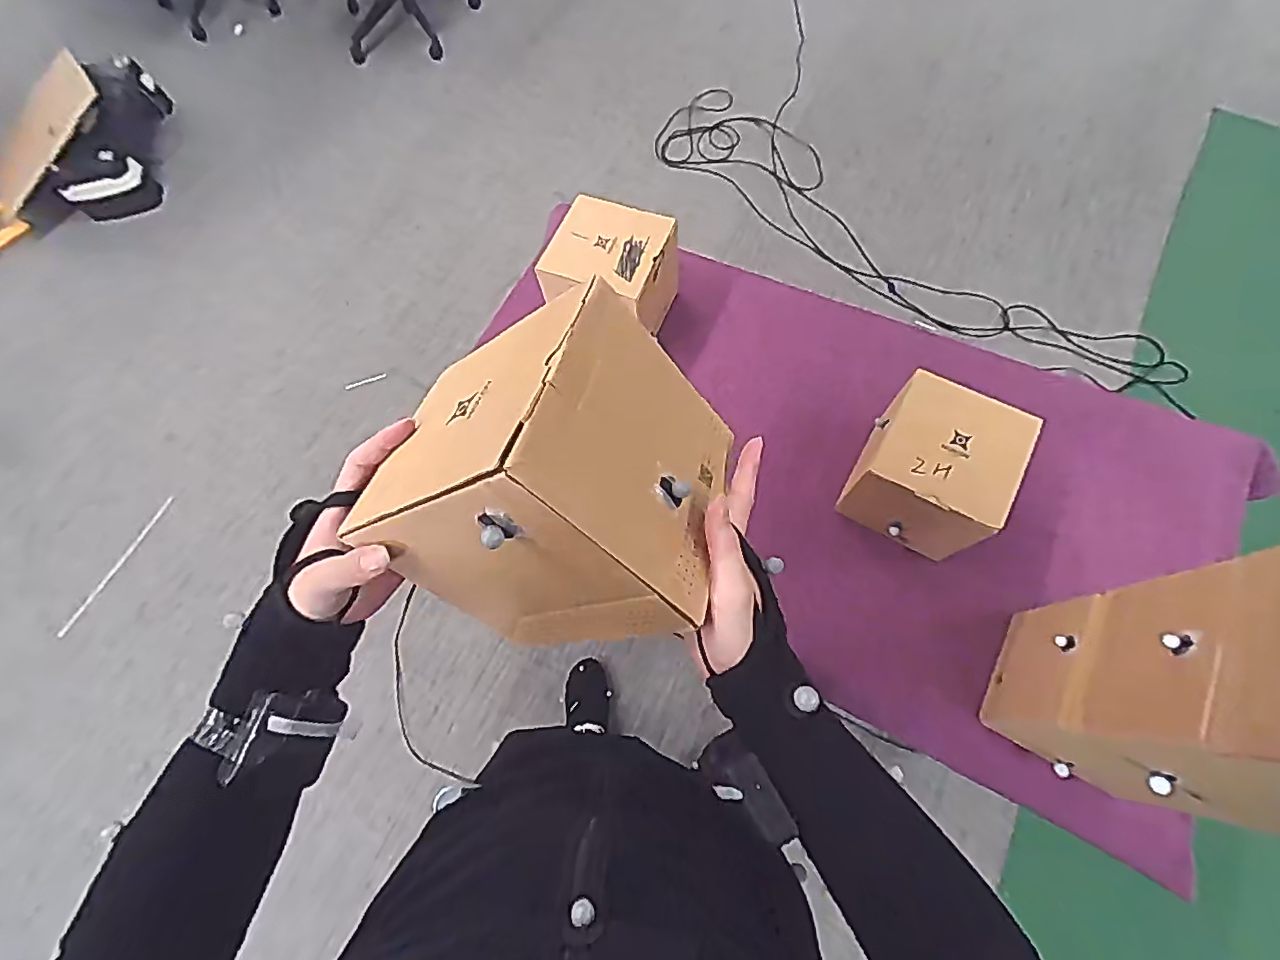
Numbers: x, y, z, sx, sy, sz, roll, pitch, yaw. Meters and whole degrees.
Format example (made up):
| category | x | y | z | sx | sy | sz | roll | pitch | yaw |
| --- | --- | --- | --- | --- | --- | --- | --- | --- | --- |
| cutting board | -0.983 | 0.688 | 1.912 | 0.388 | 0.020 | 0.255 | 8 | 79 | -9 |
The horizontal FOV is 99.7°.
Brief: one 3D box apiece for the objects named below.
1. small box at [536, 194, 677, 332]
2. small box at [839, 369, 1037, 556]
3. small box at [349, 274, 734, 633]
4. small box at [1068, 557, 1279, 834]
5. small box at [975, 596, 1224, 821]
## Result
| category | x | y | z | sx | sy | sz | roll | pitch | yaw |
| --- | --- | --- | --- | --- | --- | --- | --- | --- | --- |
| small box | -0.046 | -0.339 | 0.917 | 0.179 | 0.176 | 0.168 | 21 | 72 | 12 |
| small box | 0.407 | -0.017 | 0.768 | 0.168 | 0.176 | 0.179 | 29 | 74 | 14 |
| small box | -0.057 | -0.002 | 0.389 | 0.179 | 0.176 | 0.168 | -17 | 43 | 36 |
| small box | 0.548 | 0.201 | 0.500 | 0.168 | 0.176 | 0.179 | 28 | 73 | 15 |
| small box | 0.555 | 0.263 | 0.651 | 0.179 | 0.176 | 0.168 | 28 | 72 | 13 |
